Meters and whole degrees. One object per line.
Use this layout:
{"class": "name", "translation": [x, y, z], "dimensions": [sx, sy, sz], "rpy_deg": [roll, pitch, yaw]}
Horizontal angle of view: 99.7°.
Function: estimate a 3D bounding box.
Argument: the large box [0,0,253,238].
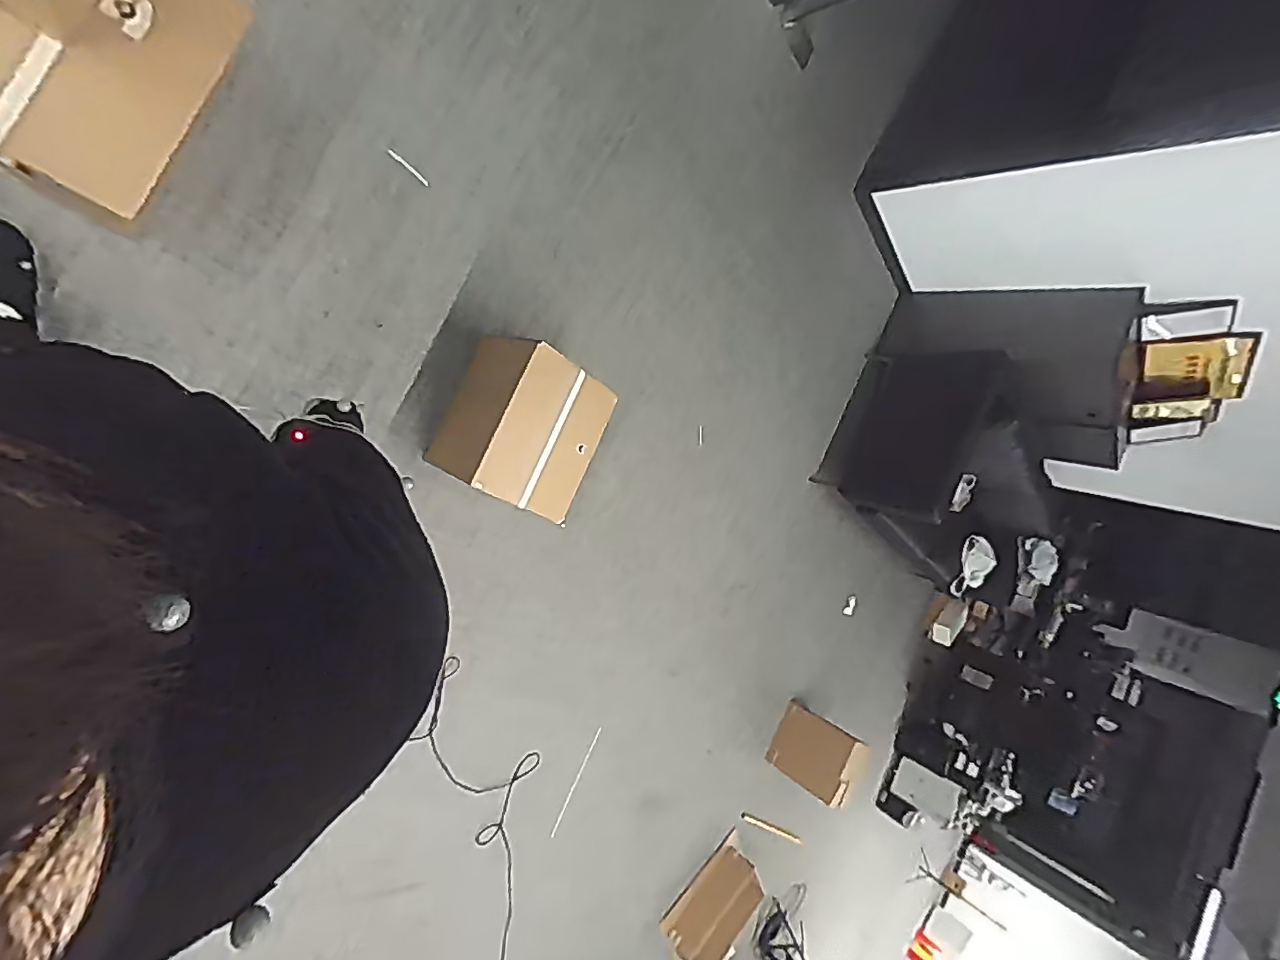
{"class": "large box", "translation": [-0.896, -0.670, 0.862], "dimensions": [0.320, 0.320, 0.408], "rpy_deg": [29, 82, -44]}
